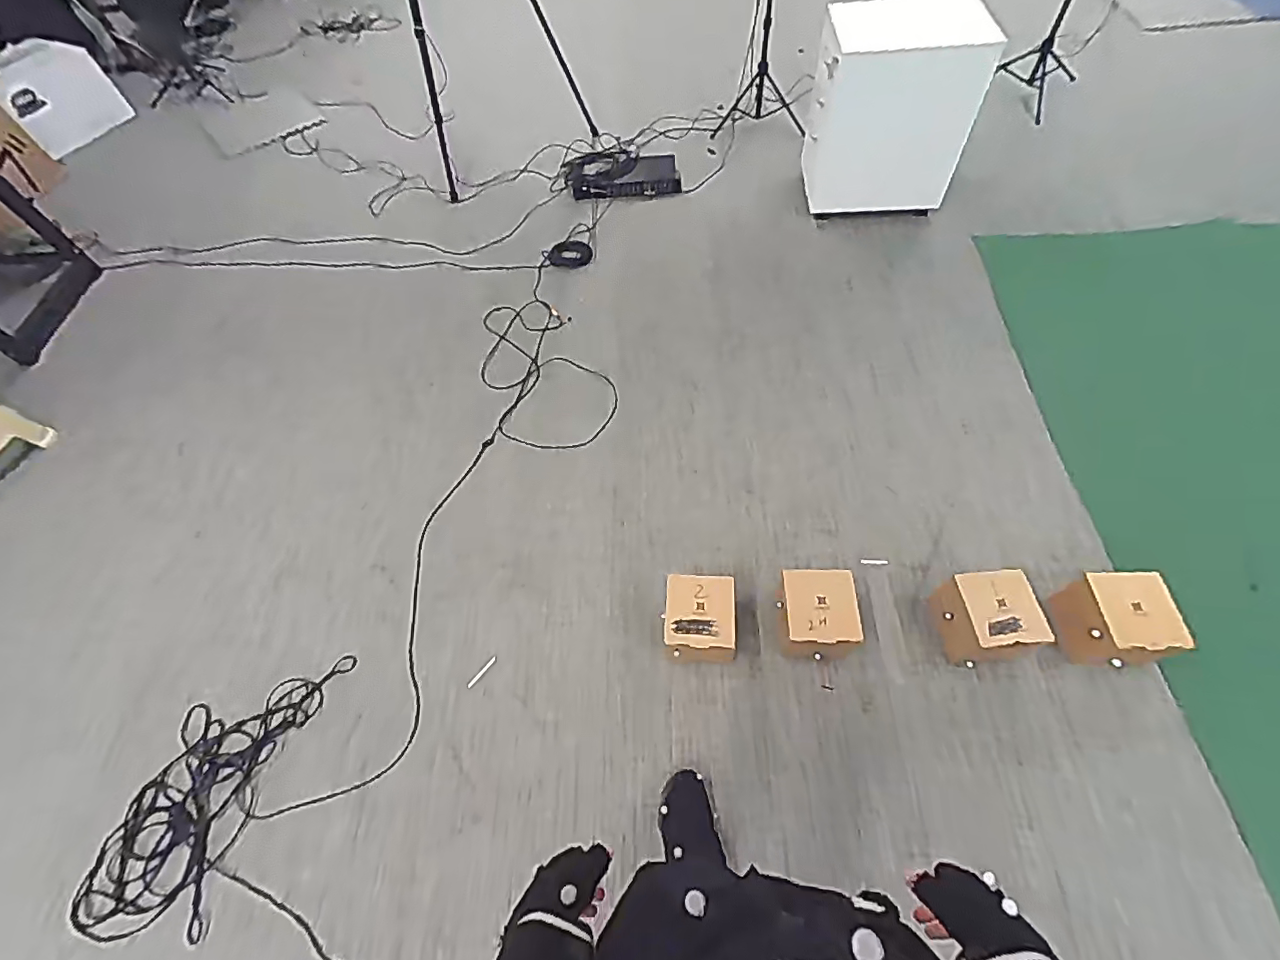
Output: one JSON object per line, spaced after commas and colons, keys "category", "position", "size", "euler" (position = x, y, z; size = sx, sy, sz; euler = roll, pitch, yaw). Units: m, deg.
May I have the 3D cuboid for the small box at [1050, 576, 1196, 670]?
{"category": "small box", "position": [1.131, 0.343, 1.287], "size": [0.168, 0.176, 0.179], "euler": [-2, 58, 4]}

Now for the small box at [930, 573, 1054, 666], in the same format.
{"category": "small box", "position": [0.839, 0.343, 1.309], "size": [0.168, 0.176, 0.179], "euler": [-5, 57, 1]}

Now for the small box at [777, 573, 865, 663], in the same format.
{"category": "small box", "position": [0.438, 0.343, 1.340], "size": [0.168, 0.176, 0.179], "euler": [-1, 59, 5]}
